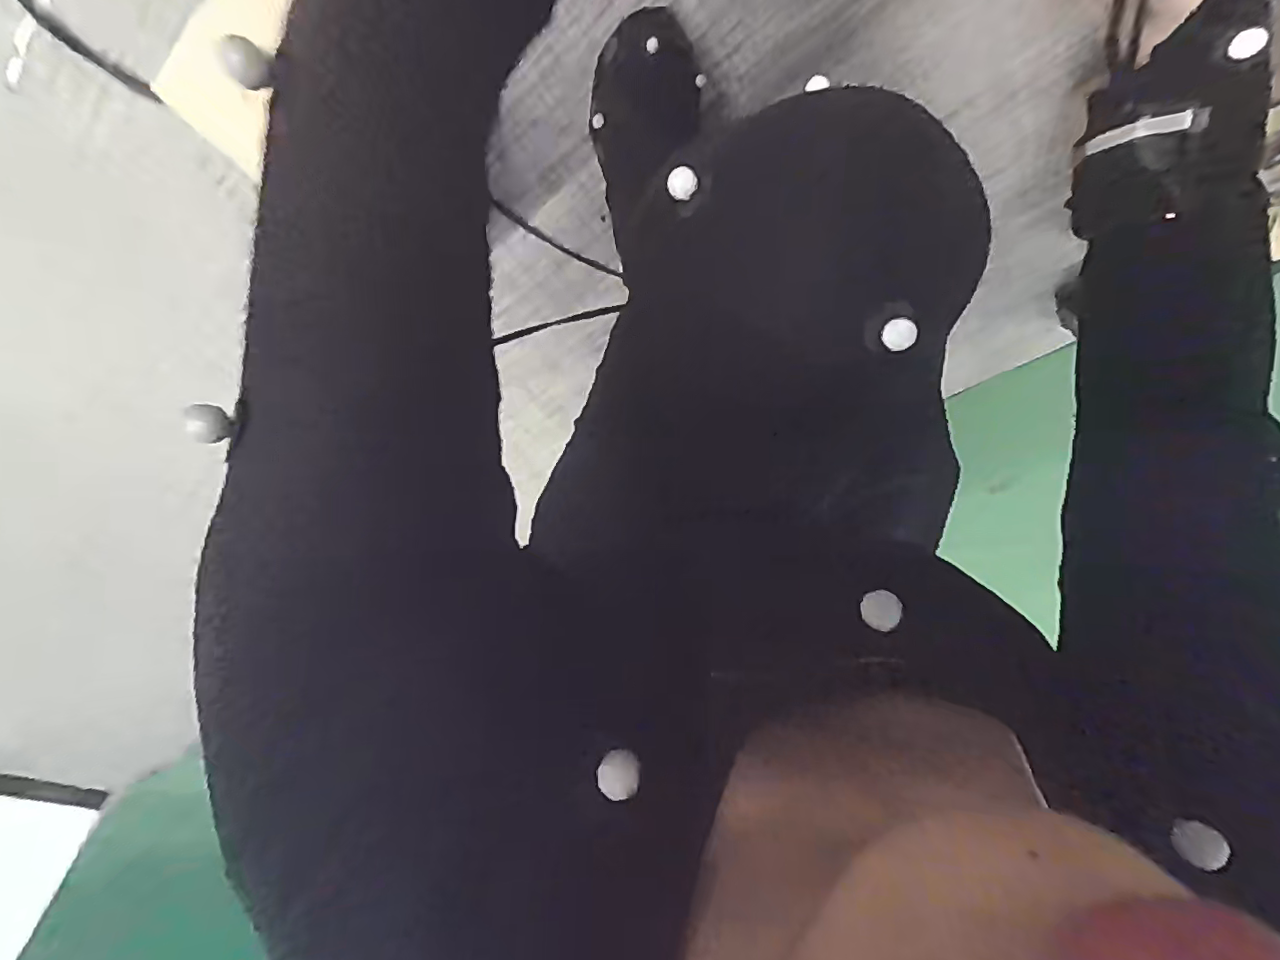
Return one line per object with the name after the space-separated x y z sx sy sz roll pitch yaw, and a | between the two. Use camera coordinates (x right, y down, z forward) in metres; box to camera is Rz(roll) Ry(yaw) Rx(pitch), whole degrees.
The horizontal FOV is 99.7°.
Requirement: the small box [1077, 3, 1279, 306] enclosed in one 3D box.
0.555 -0.311 0.517 0.168 0.176 0.179 -23 133 22 | small box
